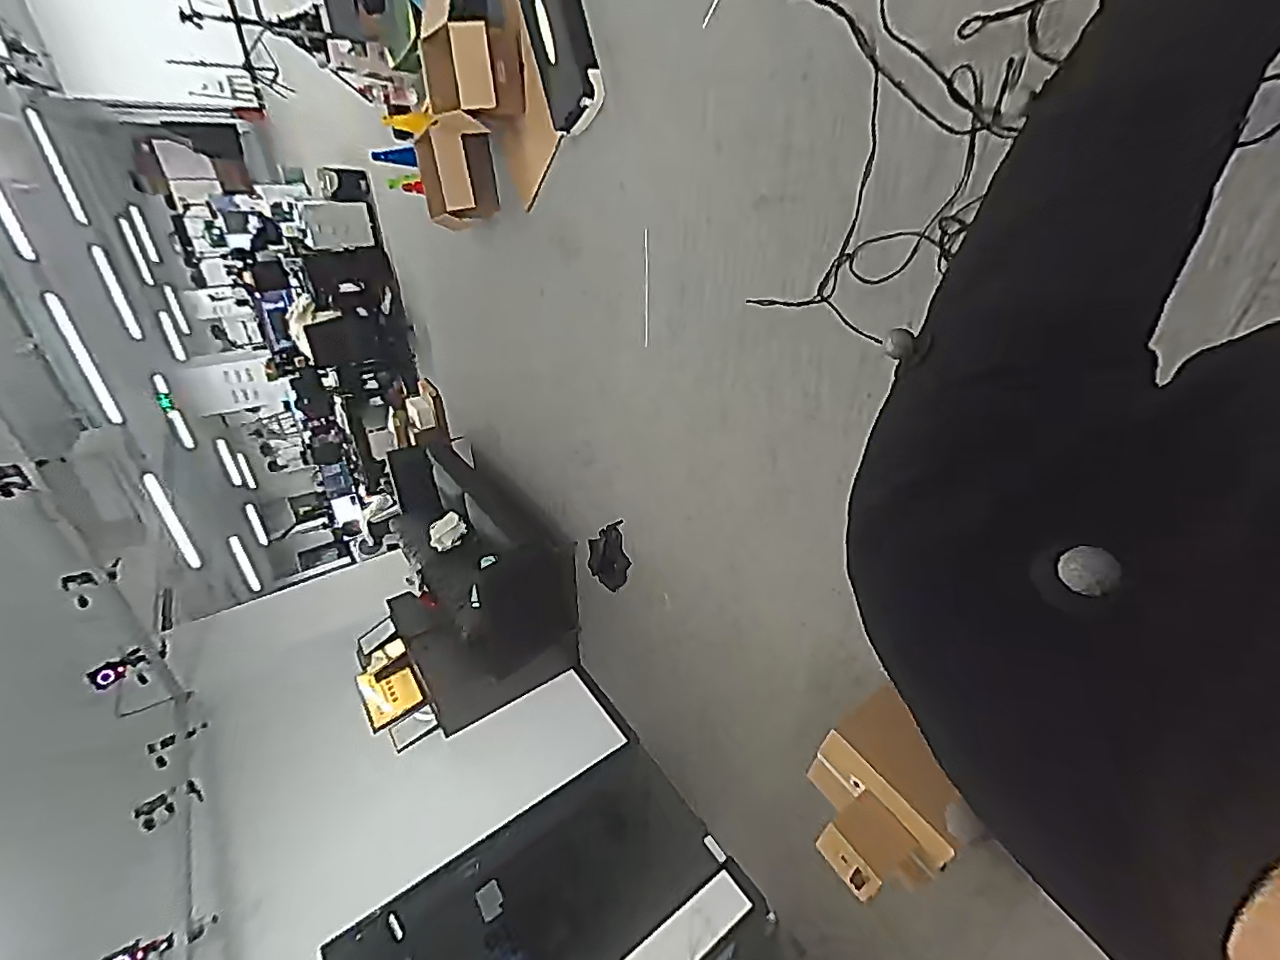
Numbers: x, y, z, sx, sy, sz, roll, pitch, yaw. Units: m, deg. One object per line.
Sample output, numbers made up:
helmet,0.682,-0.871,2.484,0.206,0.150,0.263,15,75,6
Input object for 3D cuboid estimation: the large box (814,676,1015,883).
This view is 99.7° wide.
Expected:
large box,0.830,0.909,1.677,0.408,0.320,0.320,43,140,40
